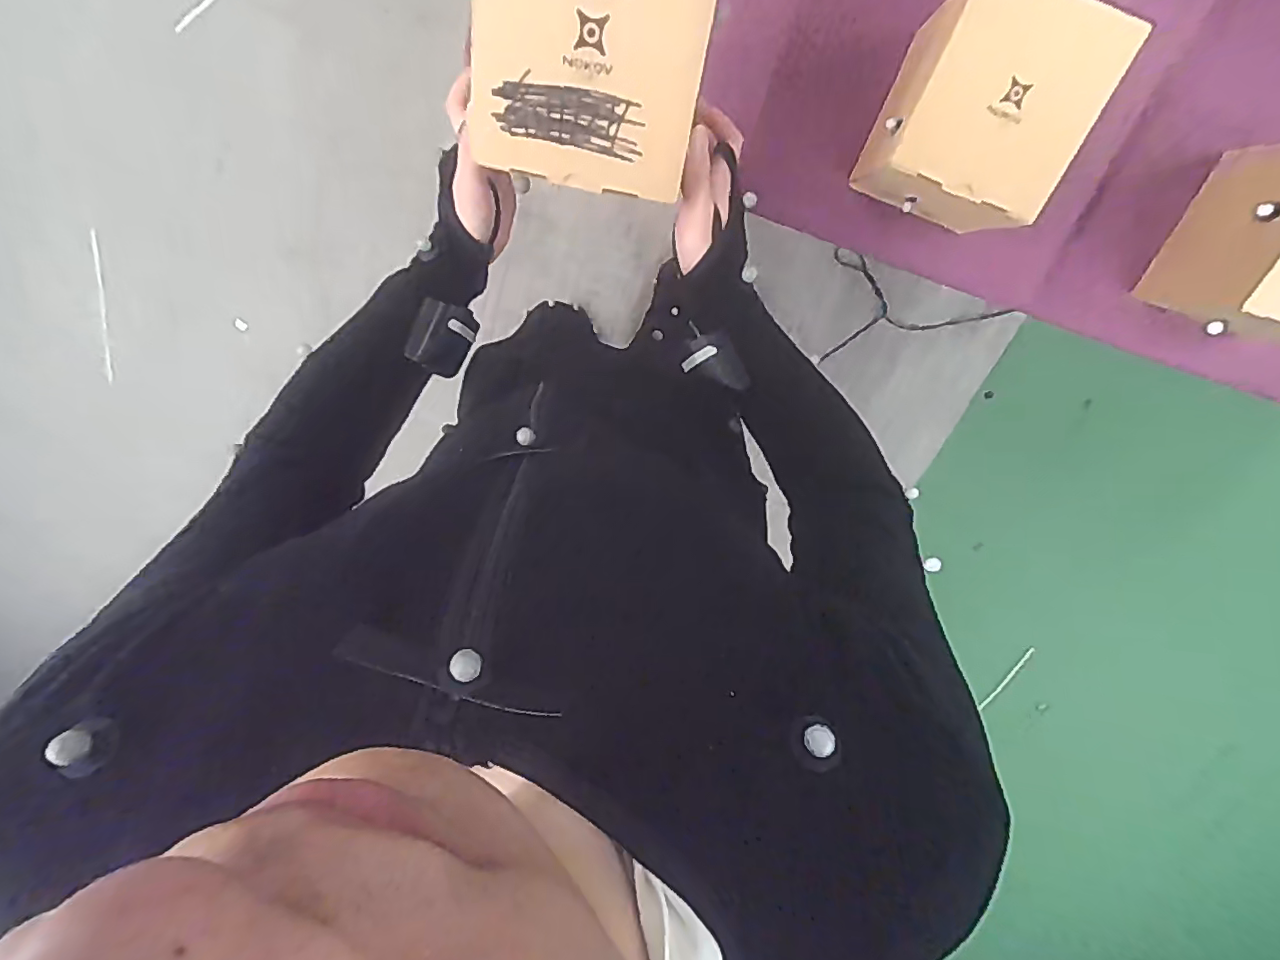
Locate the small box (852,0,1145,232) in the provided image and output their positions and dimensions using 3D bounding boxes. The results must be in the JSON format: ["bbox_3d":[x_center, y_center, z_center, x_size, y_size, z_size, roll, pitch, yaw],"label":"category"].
[{"bbox_3d":[0.358,-0.389,0.587,0.168,0.176,0.179,21,114,-3],"label":"small box"}]

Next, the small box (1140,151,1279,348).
[{"bbox_3d":[0.731,-0.252,0.599,0.168,0.176,0.179,19,115,0],"label":"small box"}]
